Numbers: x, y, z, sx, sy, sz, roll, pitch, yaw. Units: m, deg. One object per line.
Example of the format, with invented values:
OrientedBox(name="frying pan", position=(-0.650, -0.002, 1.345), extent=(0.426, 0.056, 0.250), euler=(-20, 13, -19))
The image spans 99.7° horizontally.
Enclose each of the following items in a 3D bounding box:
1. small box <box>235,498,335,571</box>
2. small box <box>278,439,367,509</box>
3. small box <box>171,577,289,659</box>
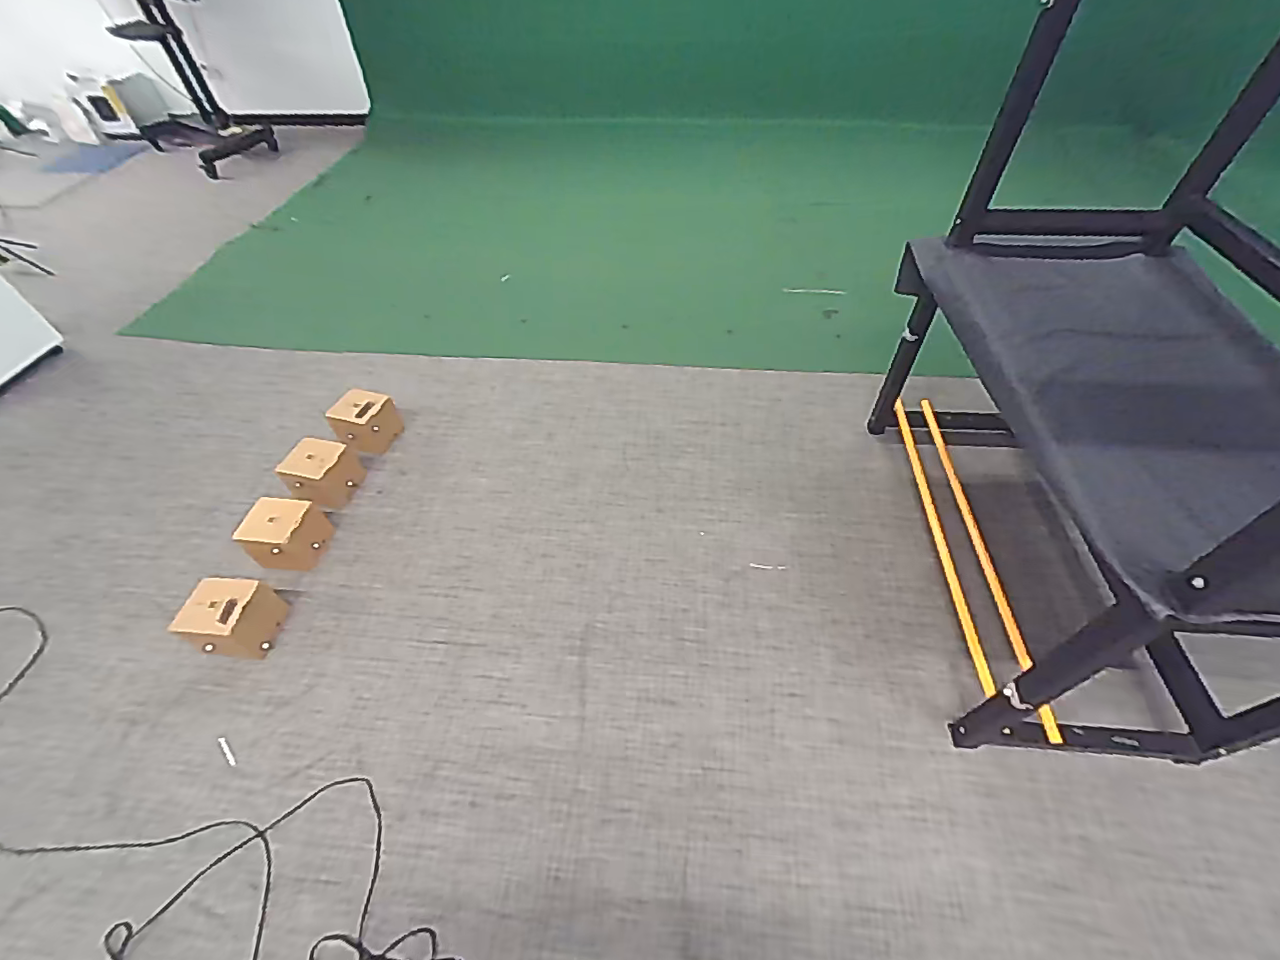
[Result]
OrientedBox(name="small box", position=(-1.123, 0.177, 1.727), extent=(0.179, 0.176, 0.168), euler=(4, 50, 5))
OrientedBox(name="small box", position=(-1.104, -0.017, 1.893), extent=(0.179, 0.176, 0.168), euler=(10, 51, 9))
OrientedBox(name="small box", position=(-1.151, 0.395, 1.537), extent=(0.179, 0.176, 0.168), euler=(3, 49, 5))
